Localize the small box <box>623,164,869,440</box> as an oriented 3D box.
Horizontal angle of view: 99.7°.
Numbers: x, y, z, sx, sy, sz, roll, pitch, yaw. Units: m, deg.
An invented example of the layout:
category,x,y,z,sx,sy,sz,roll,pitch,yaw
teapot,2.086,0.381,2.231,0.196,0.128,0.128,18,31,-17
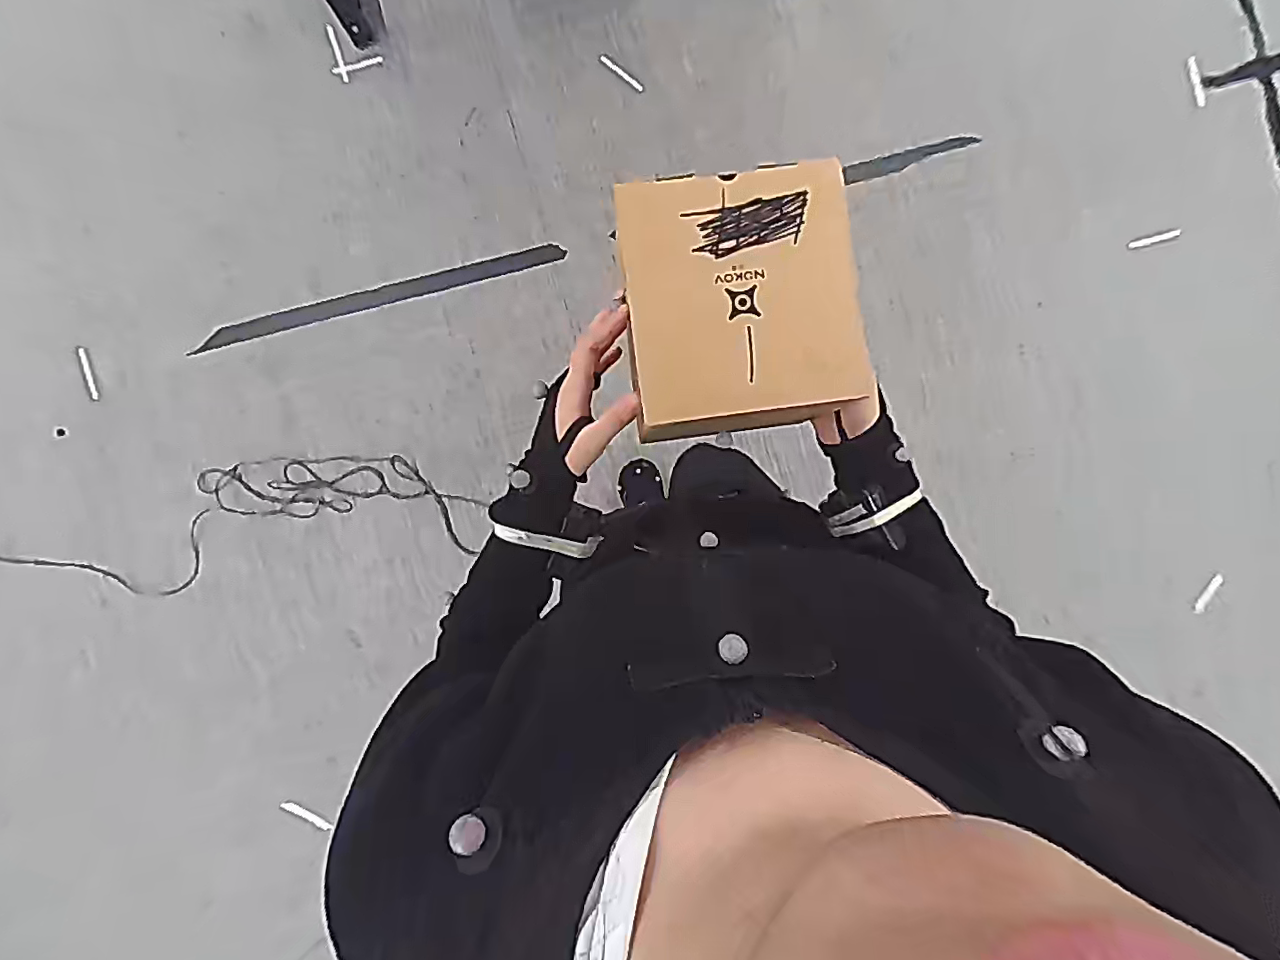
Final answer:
category,x,y,z,sx,sy,sz,roll,pitch,yaw
small box,0.074,-0.135,0.470,0.168,0.176,0.179,-7,90,-1
